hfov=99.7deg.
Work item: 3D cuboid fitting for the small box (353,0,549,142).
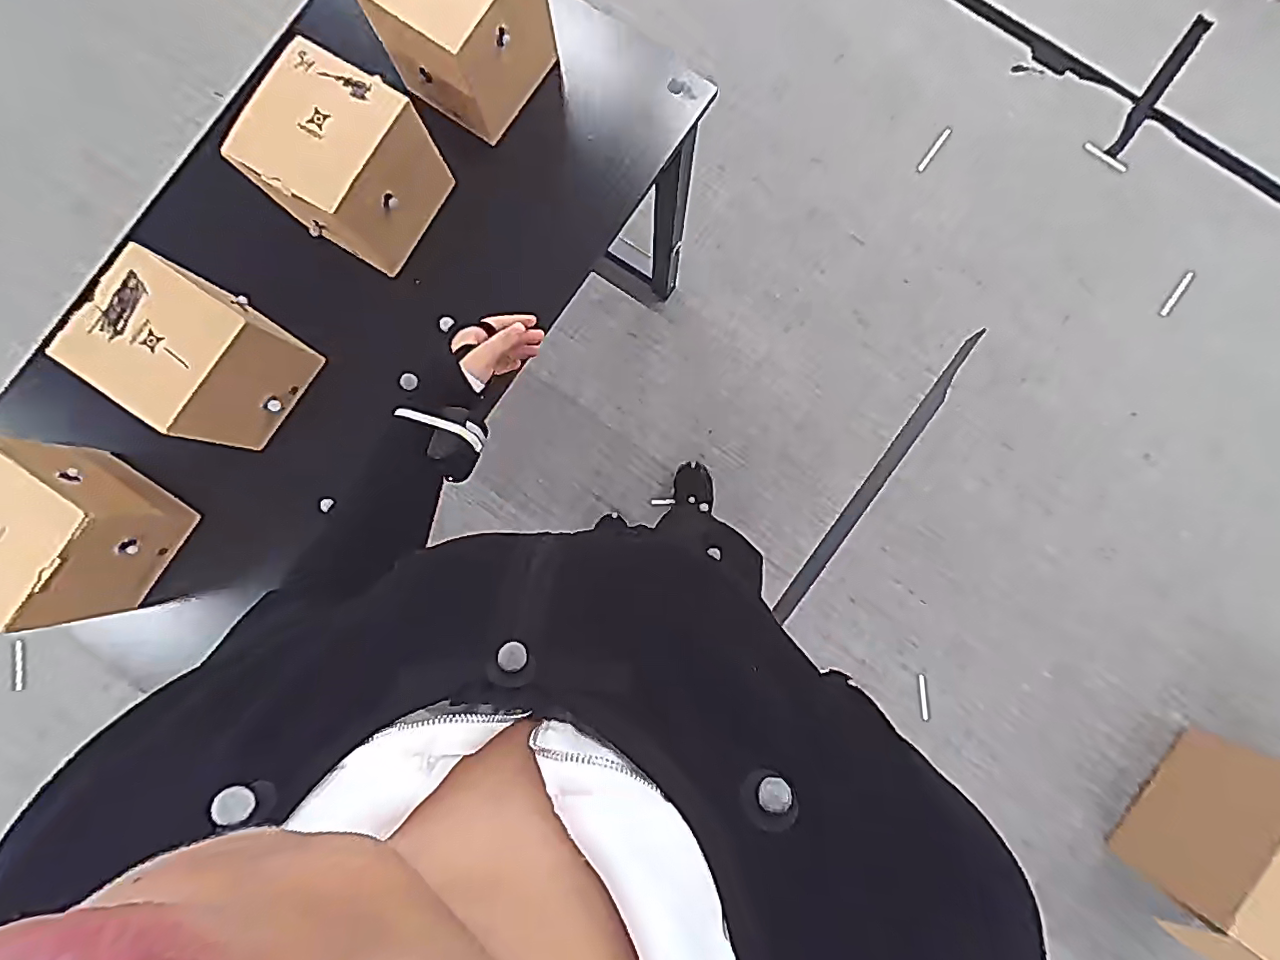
[{"bbox_3d":[-0.245,-0.622,0.747,0.168,0.176,0.179,35,87,2],"label":"small box"}]

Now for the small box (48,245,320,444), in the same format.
[{"bbox_3d":[-0.581,-0.163,0.717,0.179,0.176,0.168,34,87,1],"label":"small box"}]

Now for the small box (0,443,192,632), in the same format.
[{"bbox_3d":[-0.752,0.067,0.701,0.179,0.176,0.168,33,85,3],"label":"small box"}]

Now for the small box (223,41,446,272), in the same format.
[{"bbox_3d":[-0.395,-0.419,0.735,0.168,0.176,0.179,30,88,2],"label":"small box"}]
